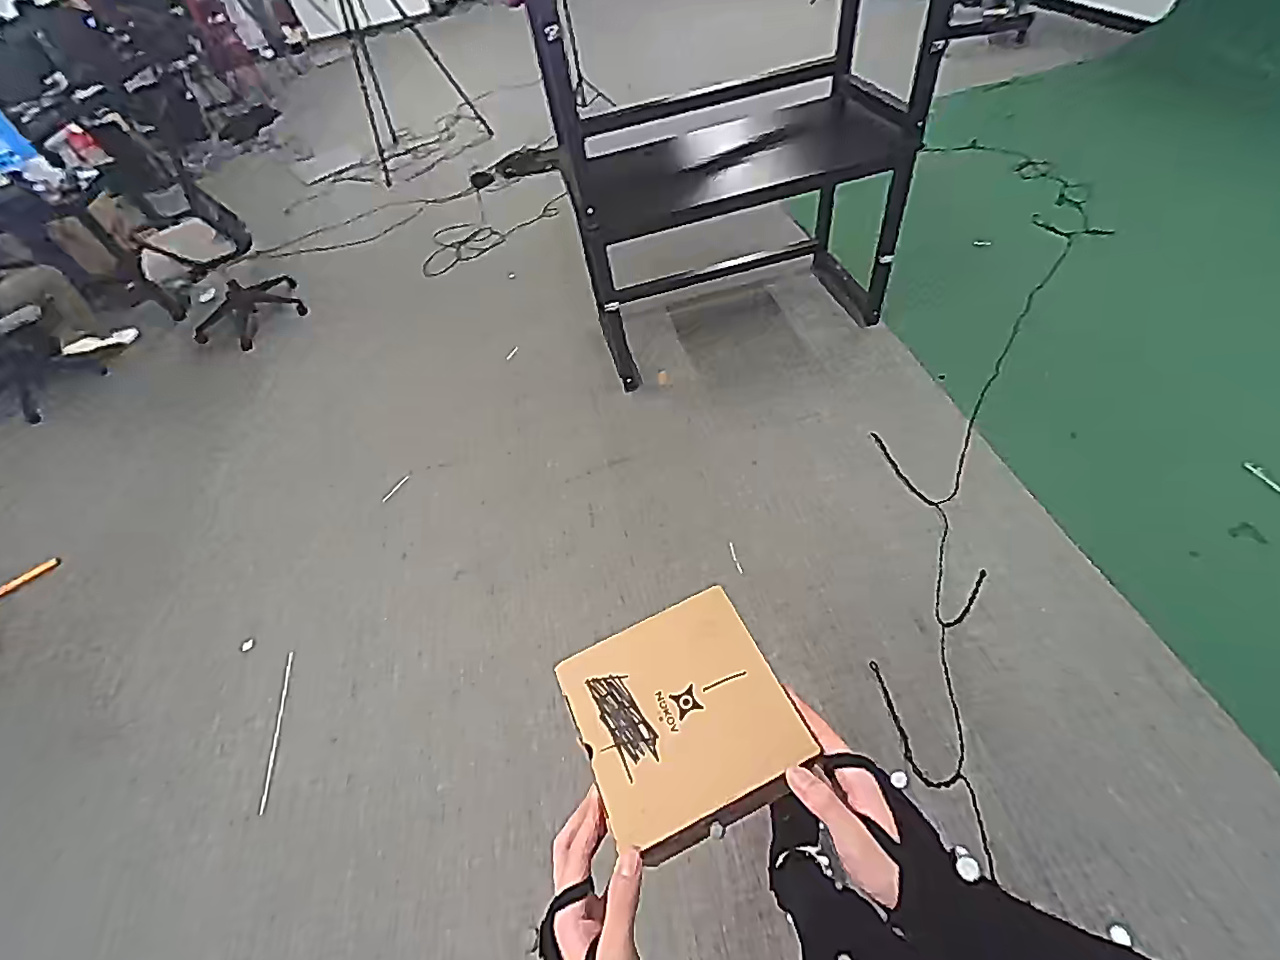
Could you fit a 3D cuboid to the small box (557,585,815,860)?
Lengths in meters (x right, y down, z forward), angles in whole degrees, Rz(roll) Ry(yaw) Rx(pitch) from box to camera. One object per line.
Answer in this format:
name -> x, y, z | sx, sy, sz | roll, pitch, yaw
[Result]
small box -> 0.045, 0.239, 0.522 | 0.179, 0.176, 0.168 | -25, 53, -8
